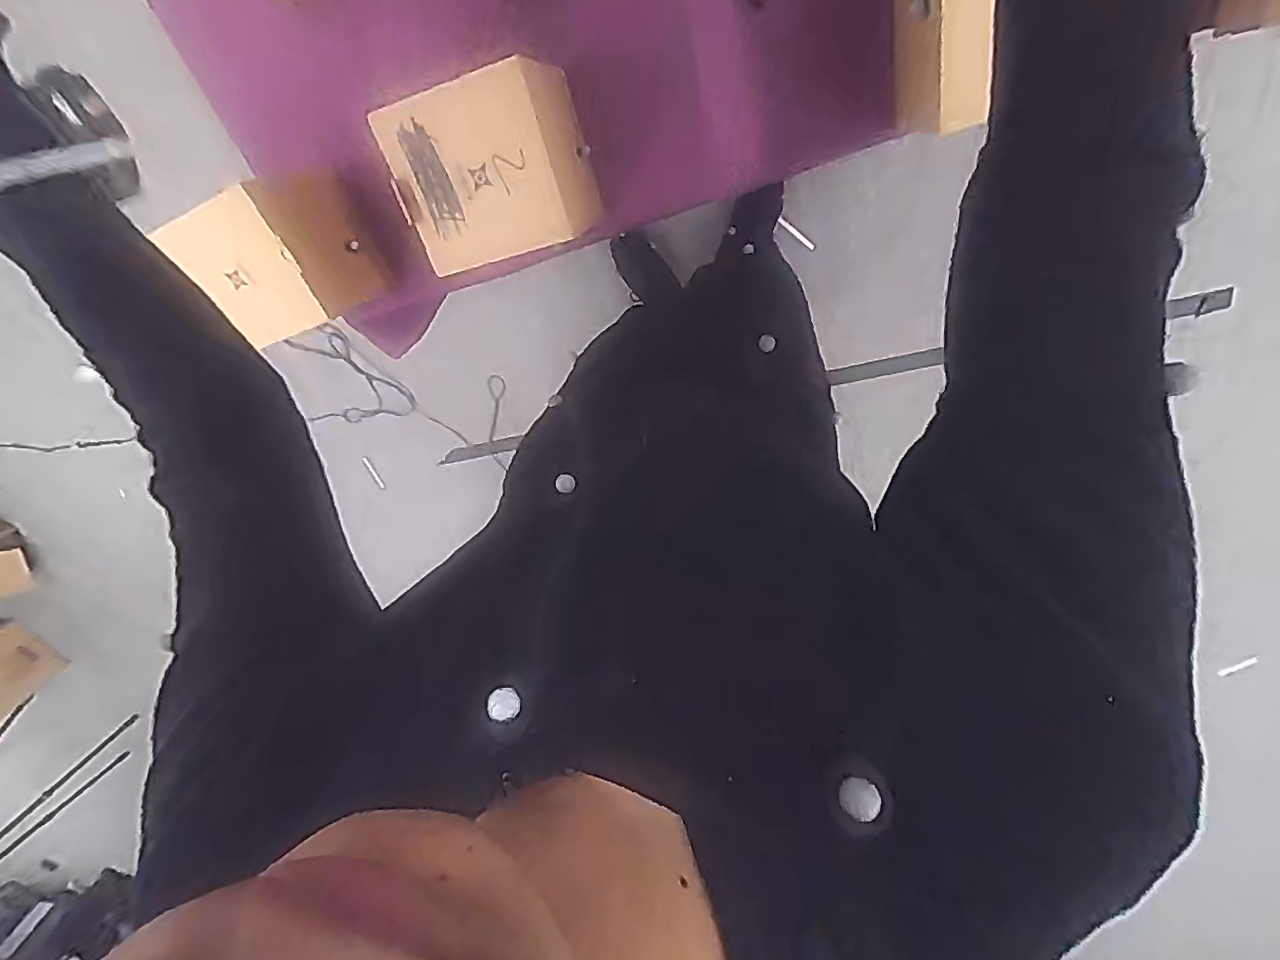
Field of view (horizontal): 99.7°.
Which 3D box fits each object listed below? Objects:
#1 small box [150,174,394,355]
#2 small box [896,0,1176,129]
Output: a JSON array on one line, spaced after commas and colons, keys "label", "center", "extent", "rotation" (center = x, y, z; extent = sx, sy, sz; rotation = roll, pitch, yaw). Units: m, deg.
[{"label": "small box", "center": [-0.481, -0.295, 0.737], "extent": [0.179, 0.176, 0.168], "rotation": [-14, 120, 18]}, {"label": "small box", "center": [0.333, -0.435, 0.480], "extent": [0.168, 0.176, 0.179], "rotation": [-8, 122, 17]}]
